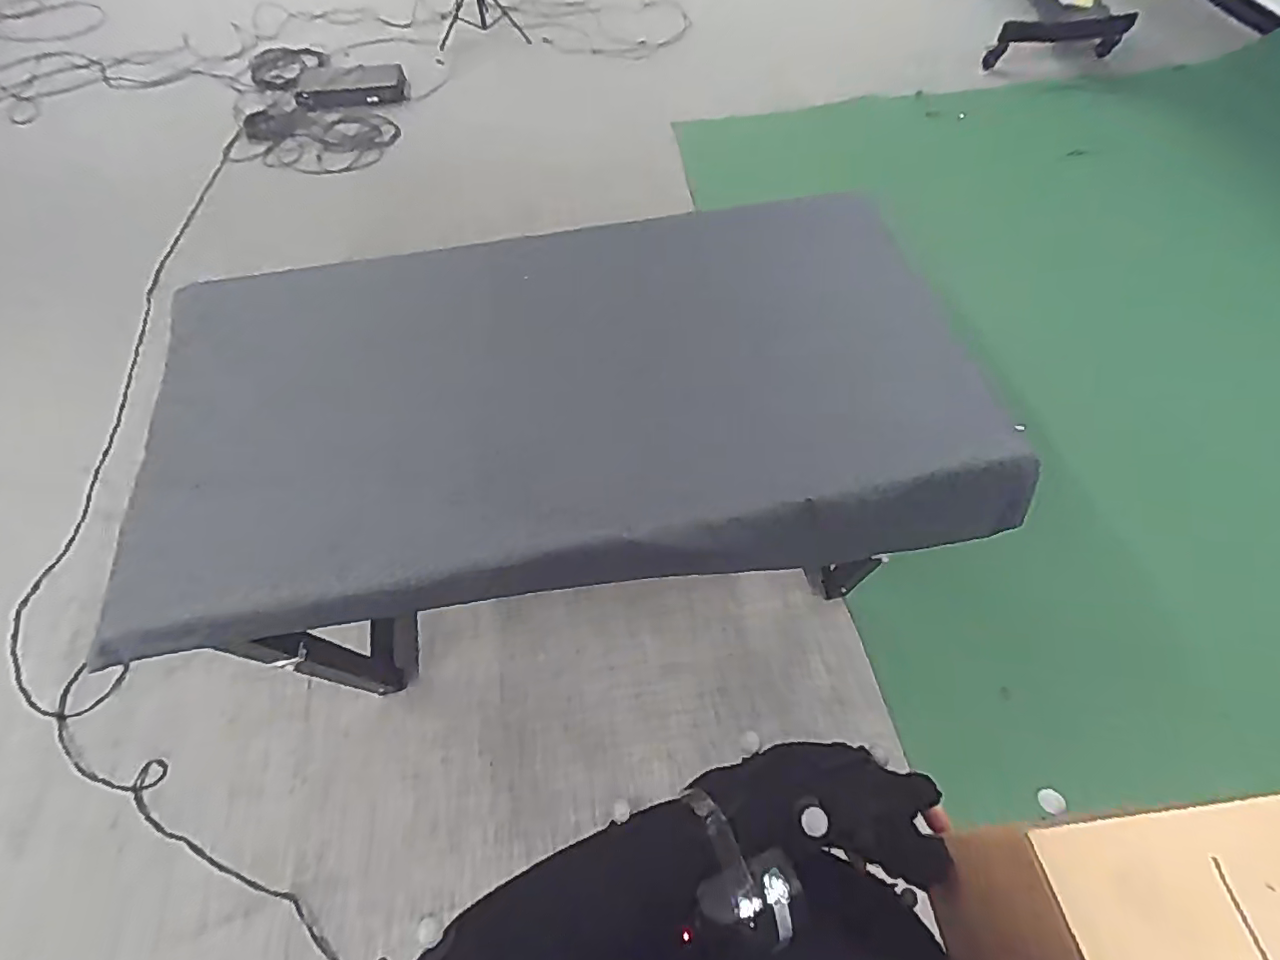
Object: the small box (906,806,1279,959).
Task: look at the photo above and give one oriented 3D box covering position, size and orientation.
[{"bbox_3d":[0.284,0.297,0.304,0.168,0.176,0.179,-6,54,-1],"label":"small box"}]
